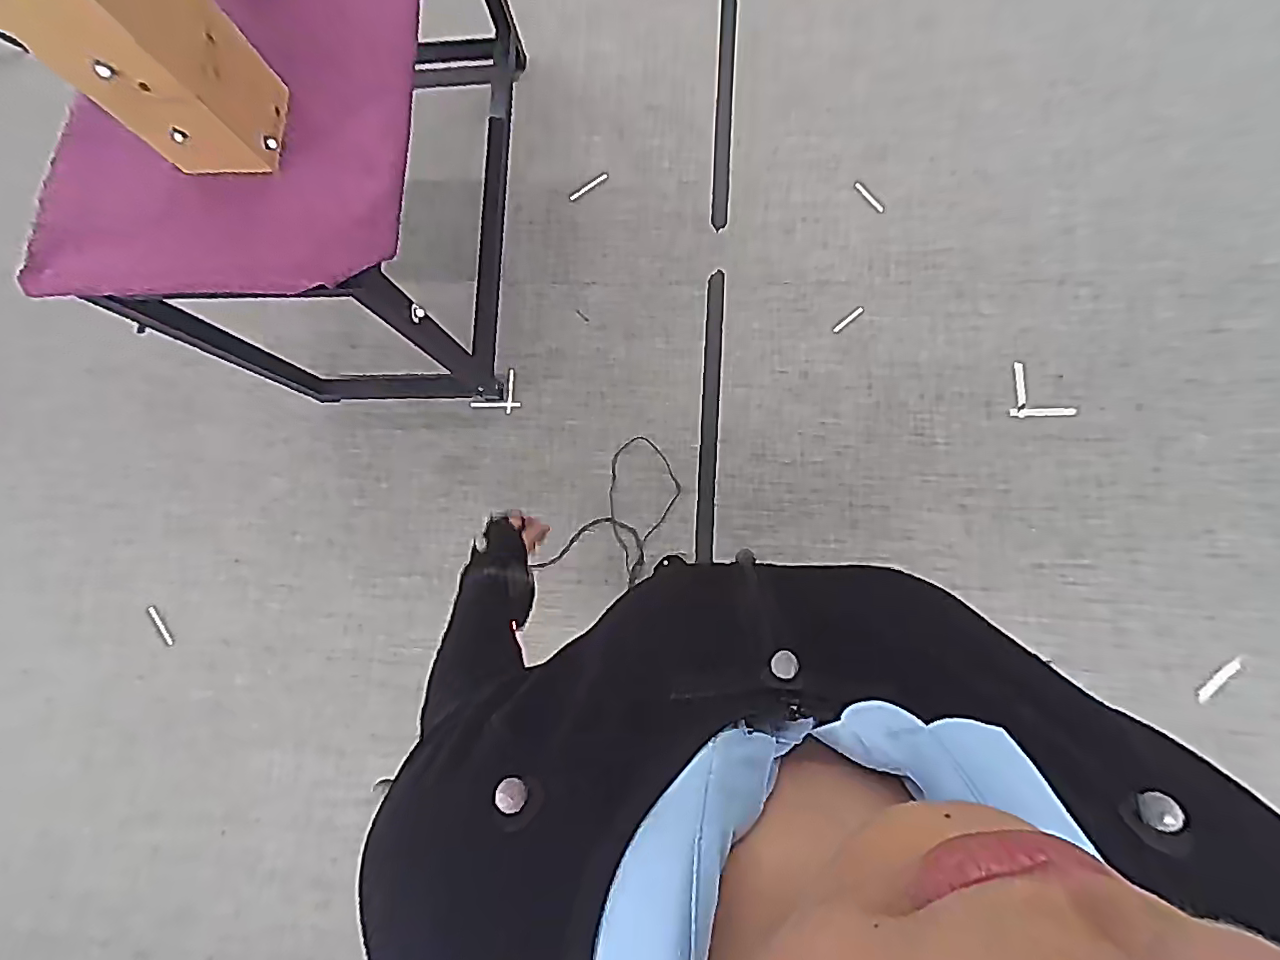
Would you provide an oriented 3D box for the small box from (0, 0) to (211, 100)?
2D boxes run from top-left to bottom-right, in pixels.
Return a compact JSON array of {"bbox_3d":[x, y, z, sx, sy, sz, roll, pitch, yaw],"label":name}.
[{"bbox_3d":[-0.727,-0.656,0.726,0.168,0.176,0.179,1,81,5],"label":"small box"}]

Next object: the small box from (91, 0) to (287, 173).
[{"bbox_3d":[-0.724,-0.635,0.890,0.179,0.176,0.168,2,81,5],"label":"small box"}]
